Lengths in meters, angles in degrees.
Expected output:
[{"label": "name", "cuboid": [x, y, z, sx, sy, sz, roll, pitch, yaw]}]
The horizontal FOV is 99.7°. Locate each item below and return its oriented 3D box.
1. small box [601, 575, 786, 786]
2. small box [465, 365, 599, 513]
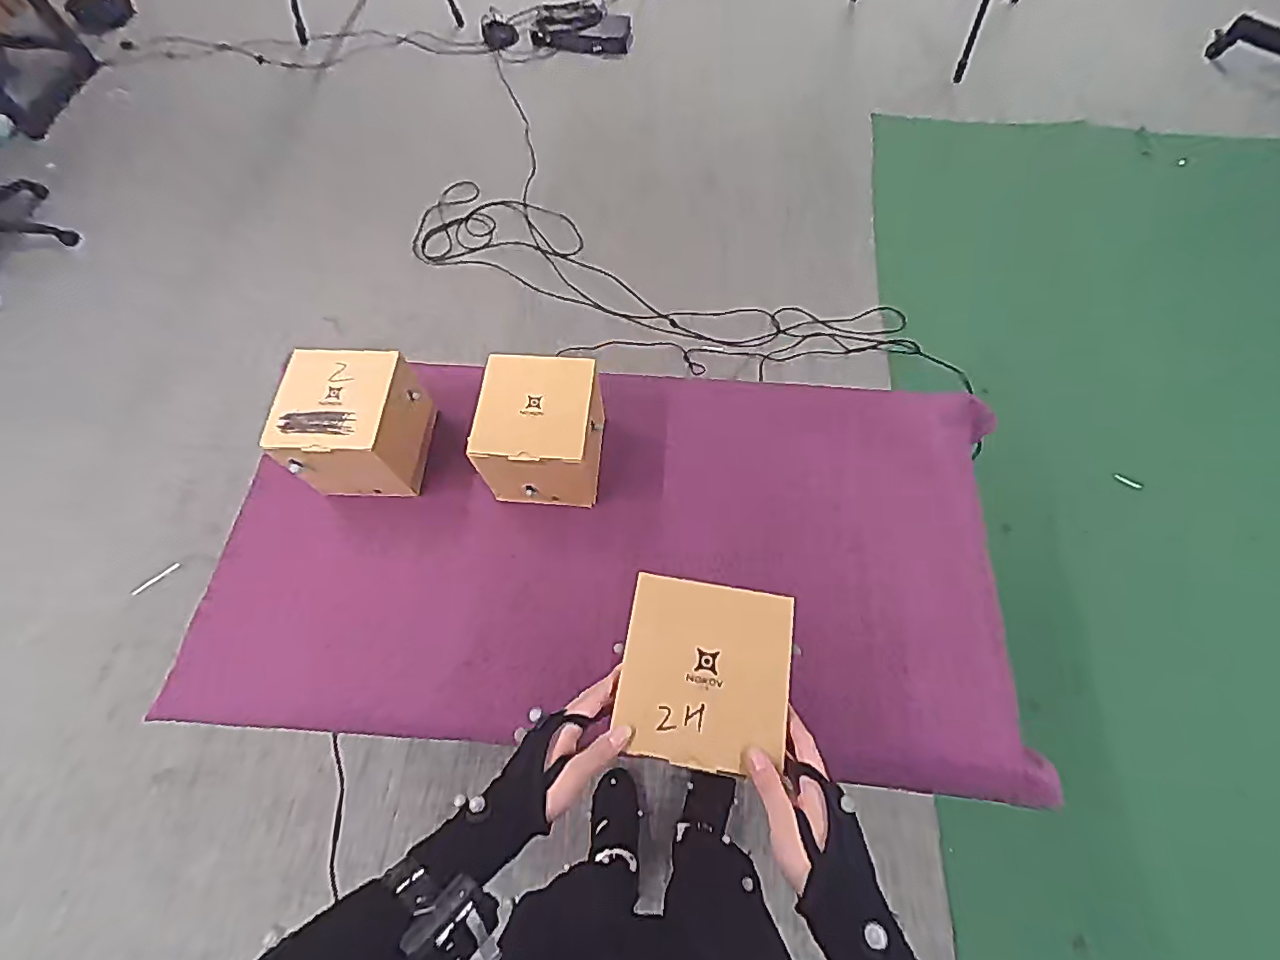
[{"label": "small box", "cuboid": [0.062, 0.225, 0.611, 0.168, 0.176, 0.179, 8, 66, 8]}, {"label": "small box", "cuboid": [-0.159, -0.062, 0.866, 0.168, 0.176, 0.179, 3, 66, 3]}]
